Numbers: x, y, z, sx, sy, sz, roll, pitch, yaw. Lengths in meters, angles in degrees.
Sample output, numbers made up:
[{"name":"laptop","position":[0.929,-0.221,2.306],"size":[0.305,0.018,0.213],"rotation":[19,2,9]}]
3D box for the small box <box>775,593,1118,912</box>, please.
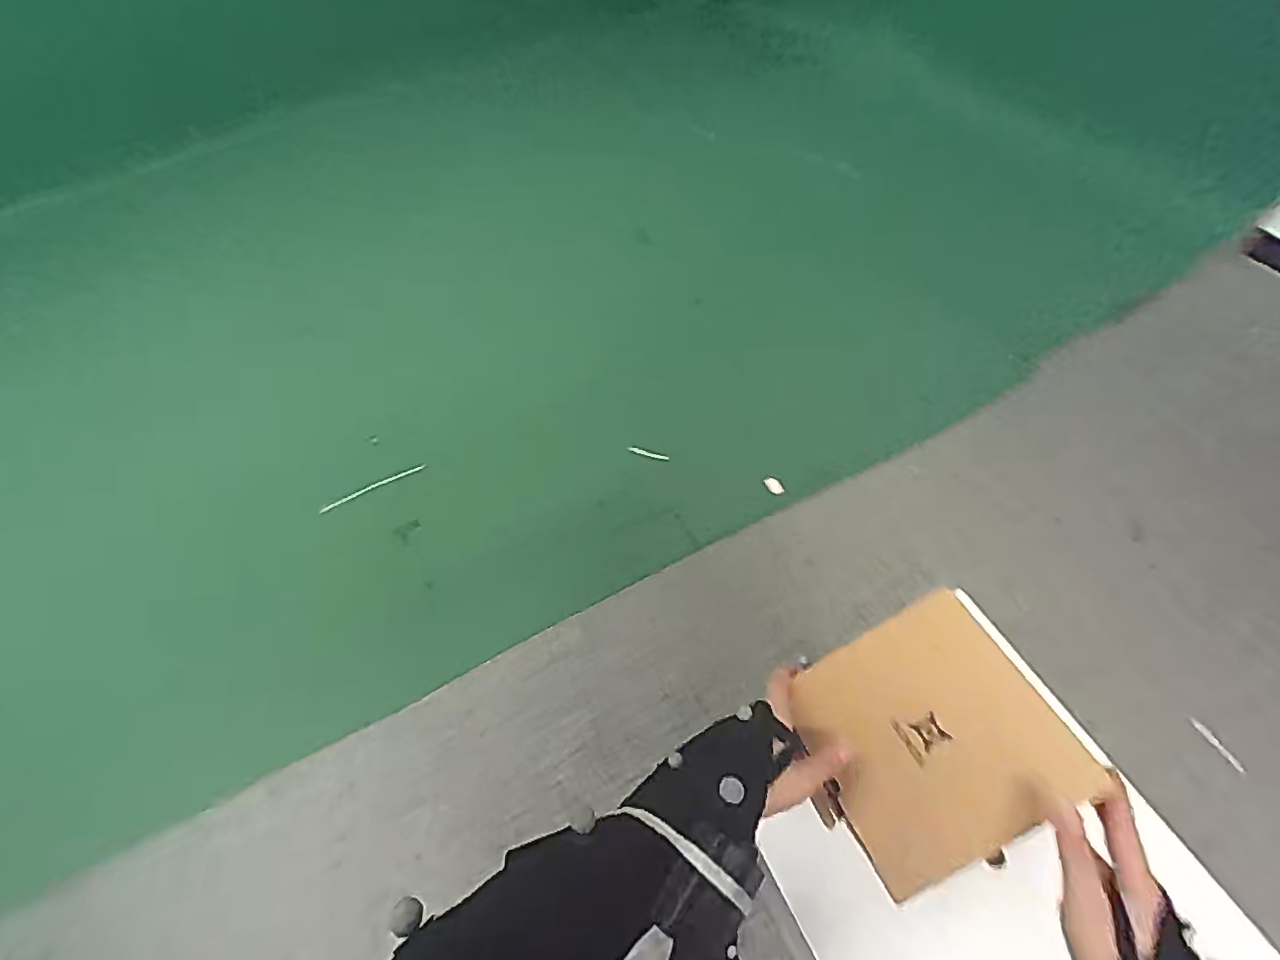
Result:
[{"name":"small box","position":[0.244,0.224,0.479],"size":[0.179,0.176,0.168],"rotation":[-35,61,7]}]
